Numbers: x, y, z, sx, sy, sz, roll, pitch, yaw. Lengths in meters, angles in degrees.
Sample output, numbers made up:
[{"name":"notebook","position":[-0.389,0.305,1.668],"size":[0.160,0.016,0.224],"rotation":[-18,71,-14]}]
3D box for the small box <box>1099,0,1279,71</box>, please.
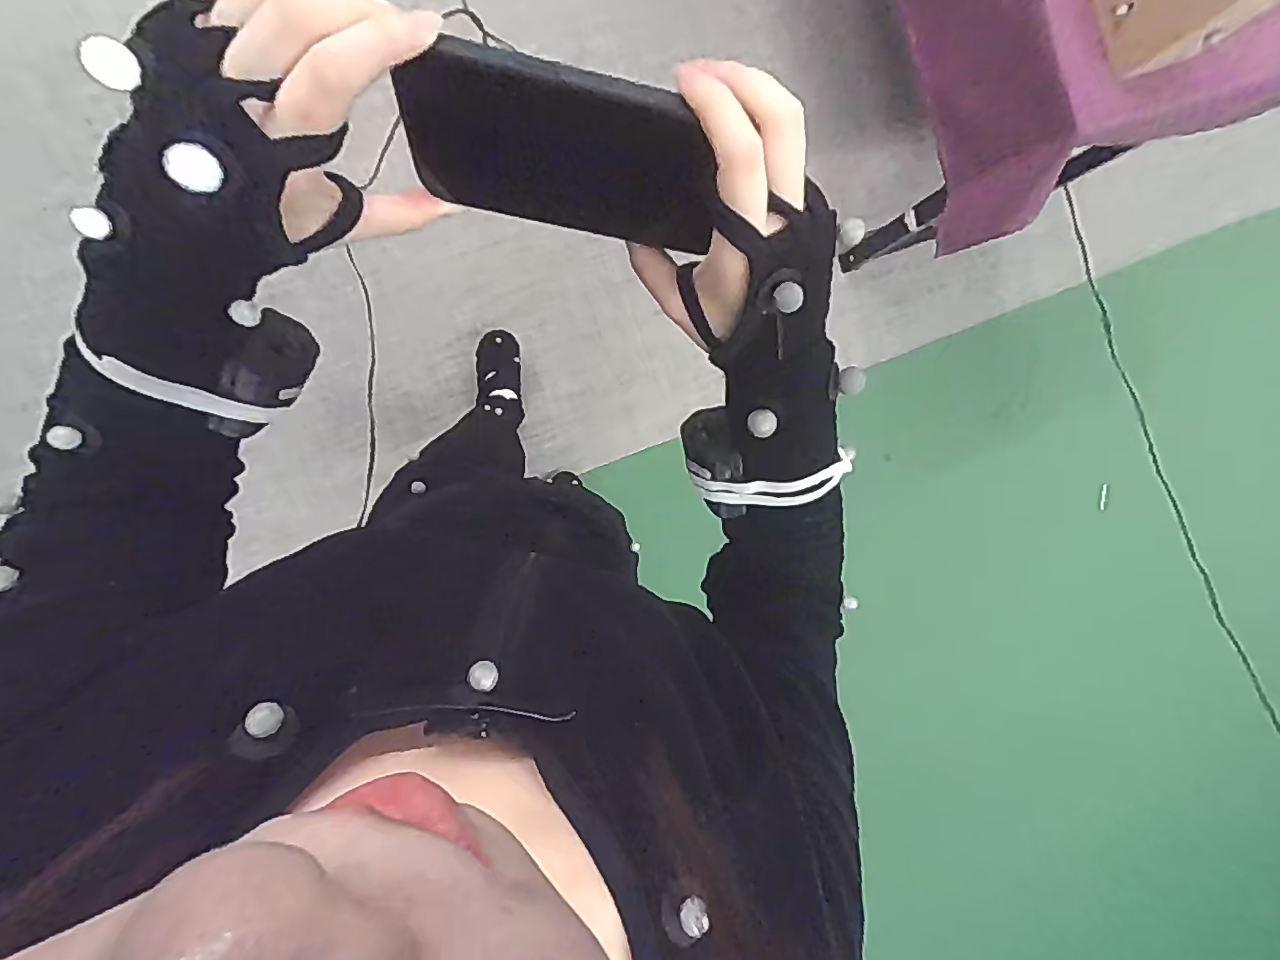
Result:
[{"name":"small box","position":[0.829,-0.749,0.798],"size":[0.168,0.176,0.179],"rotation":[-21,97,-9]}]
